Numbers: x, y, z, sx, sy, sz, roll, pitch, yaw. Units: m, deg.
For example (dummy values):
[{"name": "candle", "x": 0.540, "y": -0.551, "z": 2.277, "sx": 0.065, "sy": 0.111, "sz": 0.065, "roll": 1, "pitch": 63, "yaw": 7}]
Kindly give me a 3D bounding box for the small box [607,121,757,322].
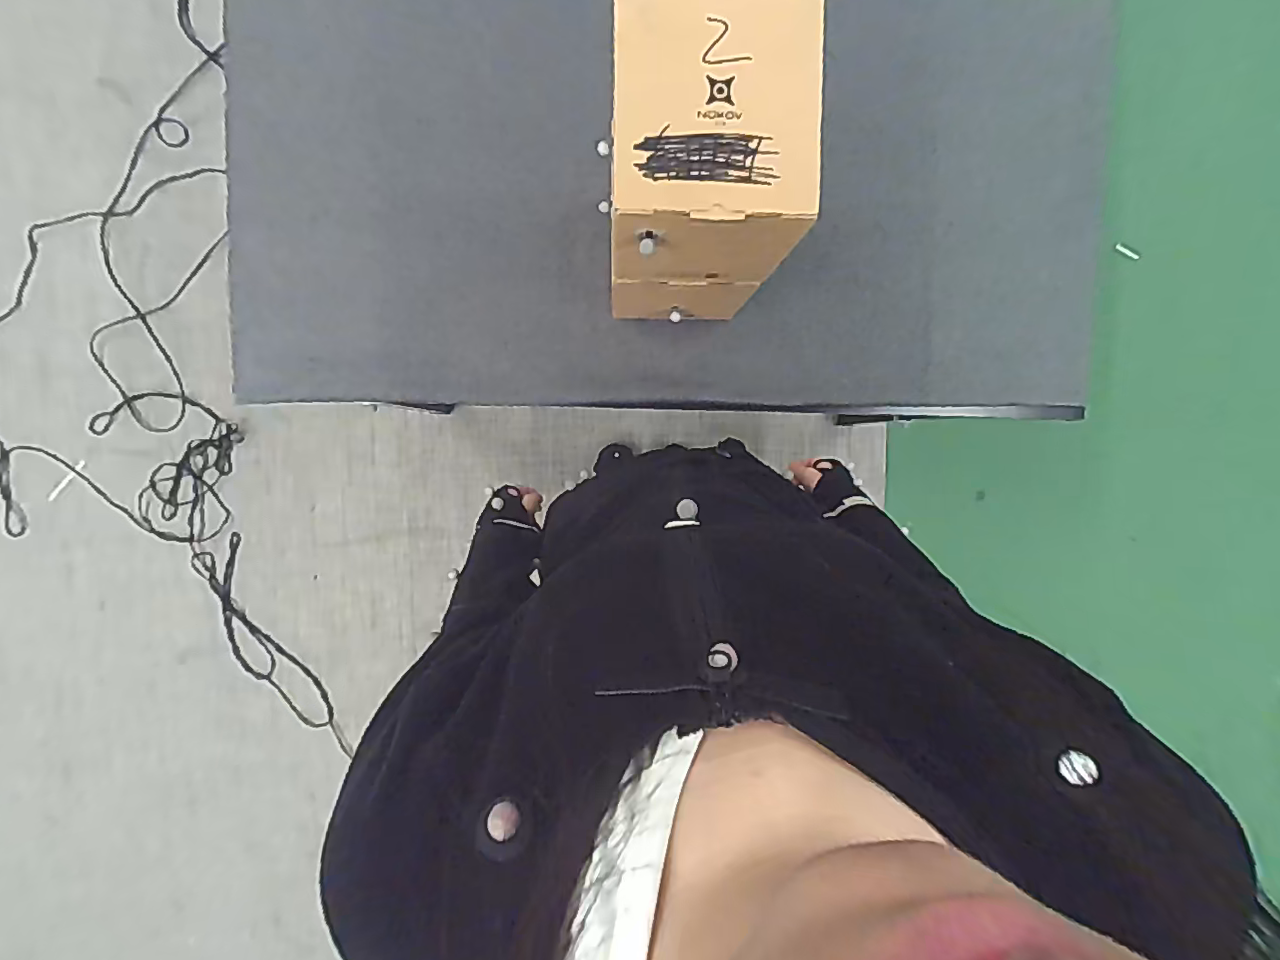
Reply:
[{"name": "small box", "x": 0.043, "y": -0.306, "z": 0.673, "sx": 0.168, "sy": 0.176, "sz": 0.179, "roll": -1, "pitch": 93, "yaw": -3}]
